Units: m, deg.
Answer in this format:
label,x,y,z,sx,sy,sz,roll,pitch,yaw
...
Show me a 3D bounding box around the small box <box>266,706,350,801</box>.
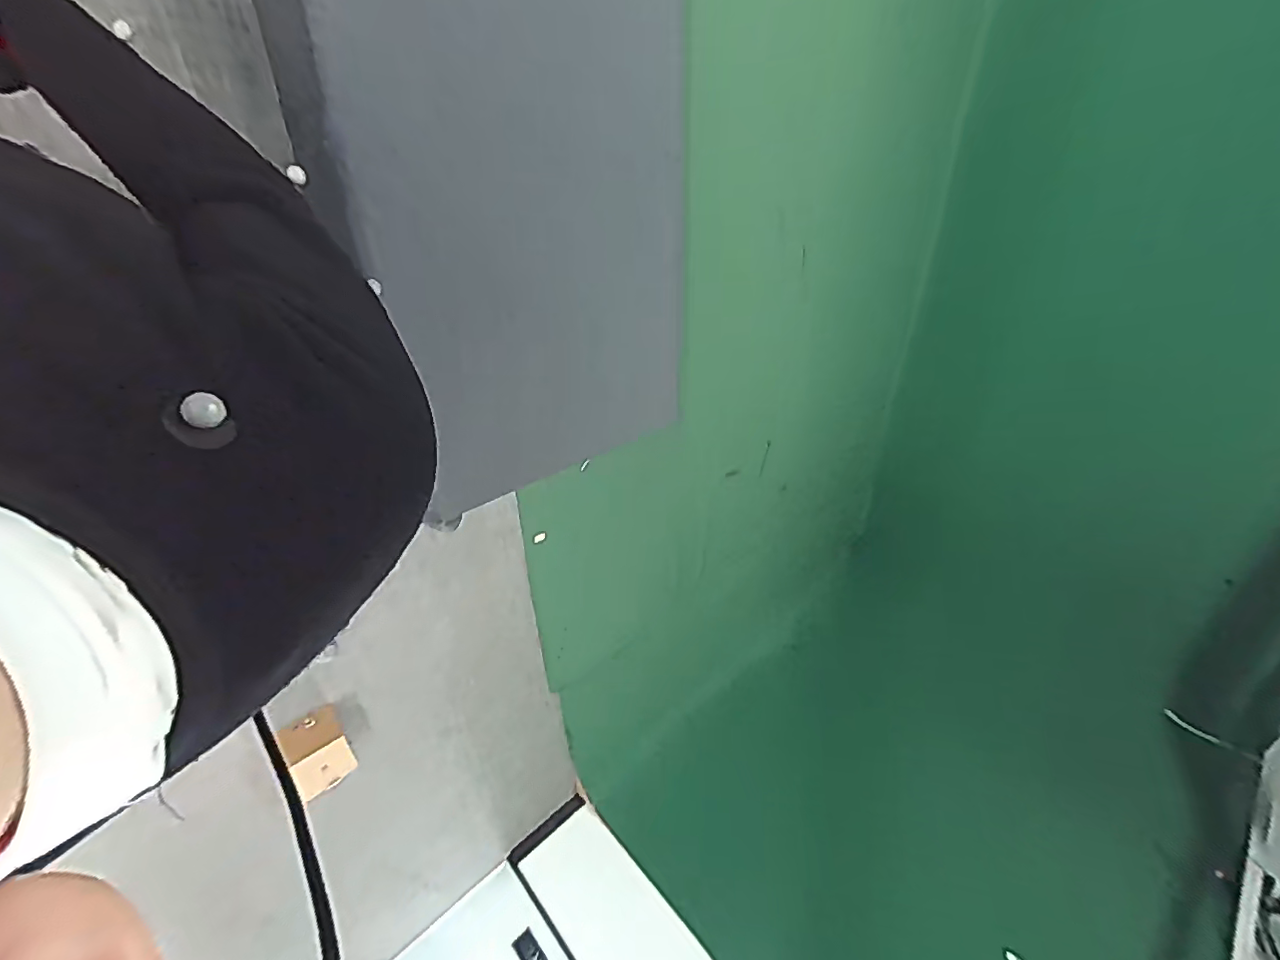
label,x,y,z,sx,sy,sz,roll,pitch,yaw
small box,-1.060,0.867,1.728,0.168,0.176,0.179,-26,129,-38
